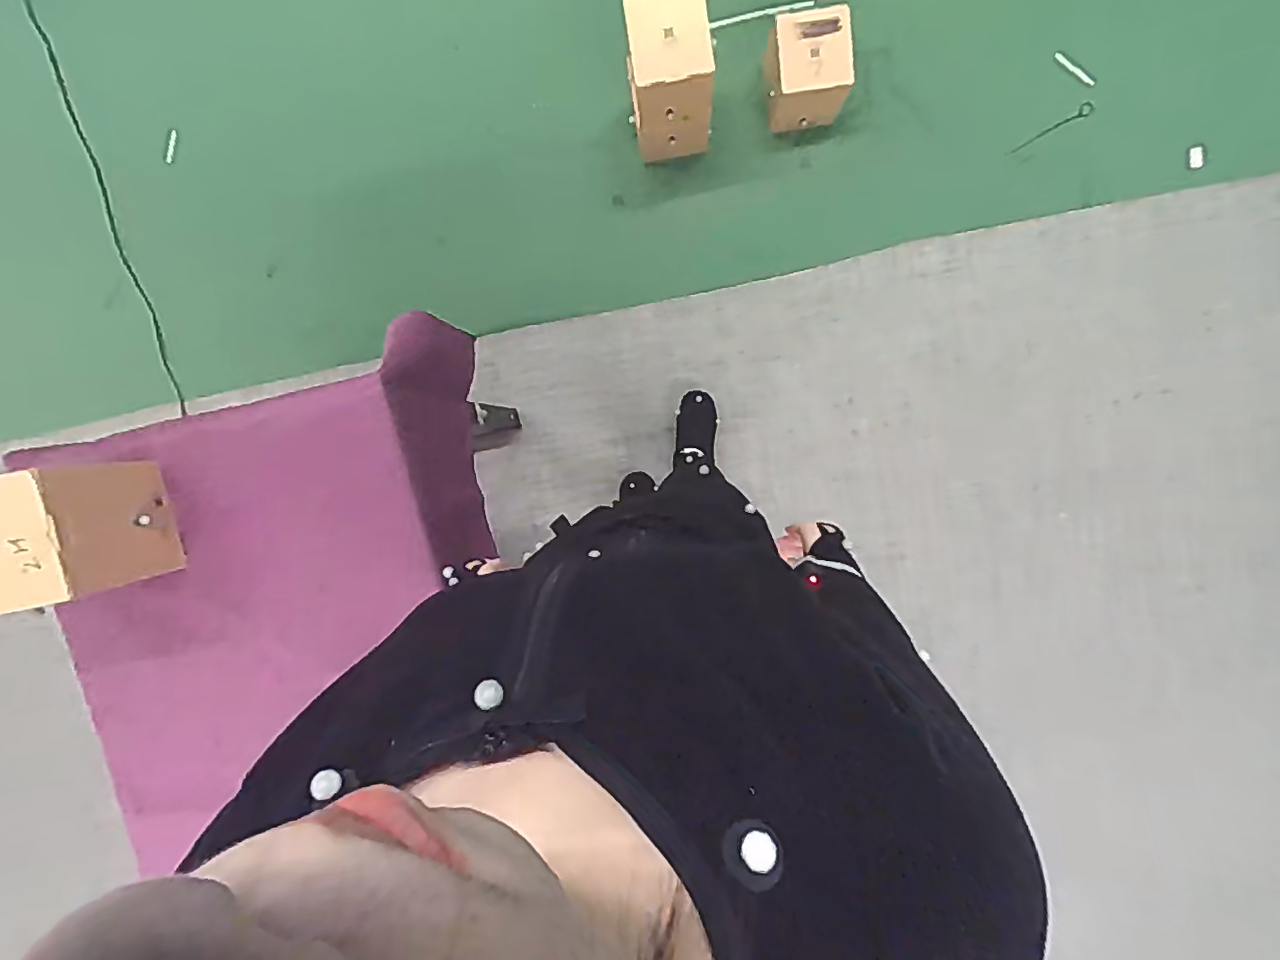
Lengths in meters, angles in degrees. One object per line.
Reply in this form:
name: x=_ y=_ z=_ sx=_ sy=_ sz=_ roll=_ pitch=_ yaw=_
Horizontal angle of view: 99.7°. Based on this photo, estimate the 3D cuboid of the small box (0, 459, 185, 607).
small box: x=-0.785 y=0.068 z=0.734 sx=0.179 sy=0.176 sz=0.168 roll=-11 pitch=95 yaw=1

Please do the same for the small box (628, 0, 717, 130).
small box: x=0.070 y=-0.908 z=1.174 sx=0.168 sy=0.176 sz=0.179 roll=-8 pitch=94 yaw=5

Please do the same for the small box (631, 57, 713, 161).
small box: x=0.079 y=-0.924 z=1.336 sx=0.179 sy=0.176 sz=0.168 roll=-9 pitch=94 yaw=5
